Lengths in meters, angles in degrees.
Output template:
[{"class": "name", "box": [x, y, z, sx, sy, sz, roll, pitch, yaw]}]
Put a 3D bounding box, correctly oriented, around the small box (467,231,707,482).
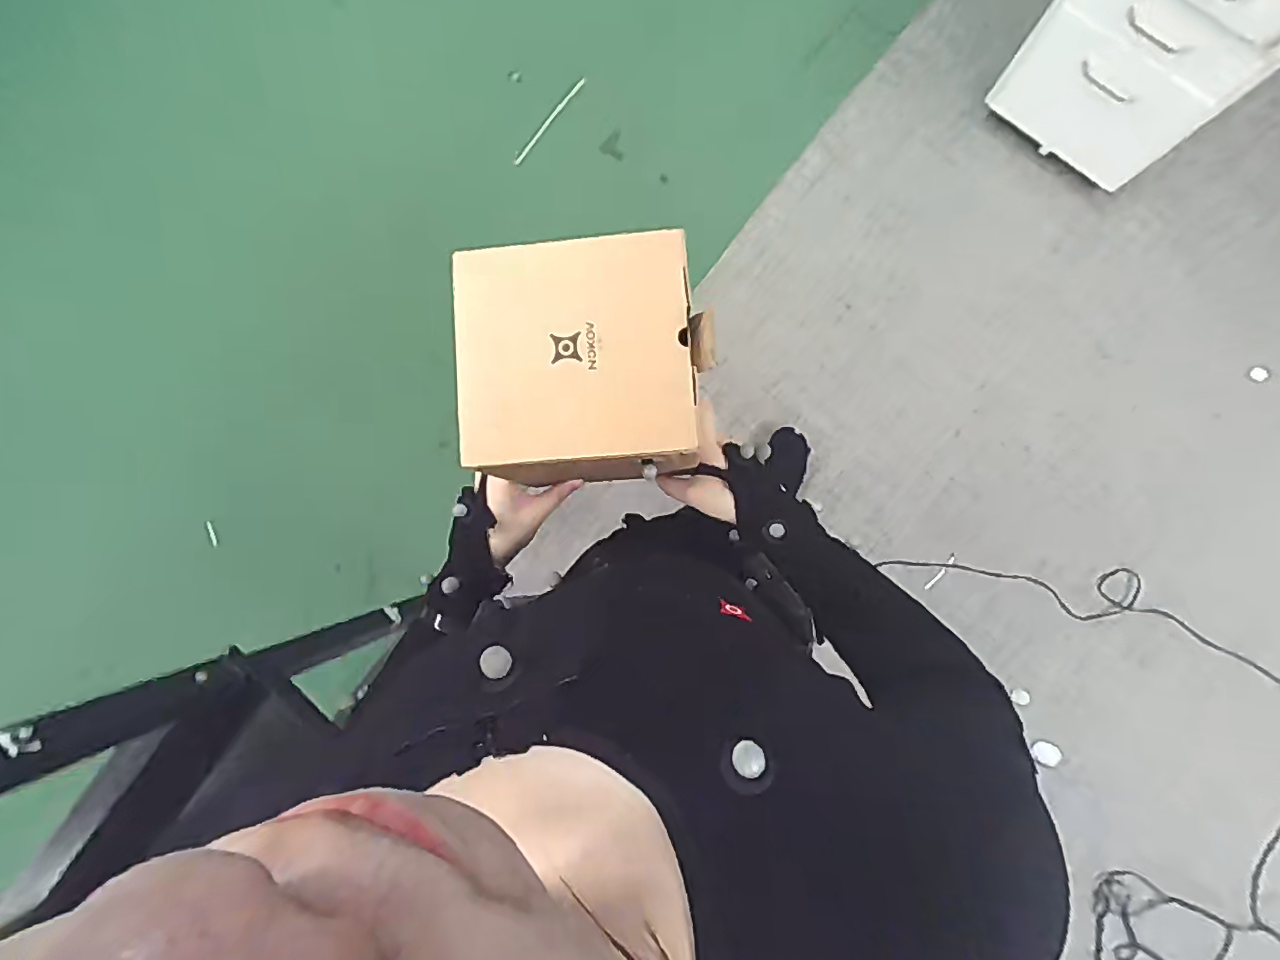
[{"class": "small box", "box": [-0.036, -0.091, 0.477, 0.179, 0.176, 0.168, -4, 84, 3]}]
